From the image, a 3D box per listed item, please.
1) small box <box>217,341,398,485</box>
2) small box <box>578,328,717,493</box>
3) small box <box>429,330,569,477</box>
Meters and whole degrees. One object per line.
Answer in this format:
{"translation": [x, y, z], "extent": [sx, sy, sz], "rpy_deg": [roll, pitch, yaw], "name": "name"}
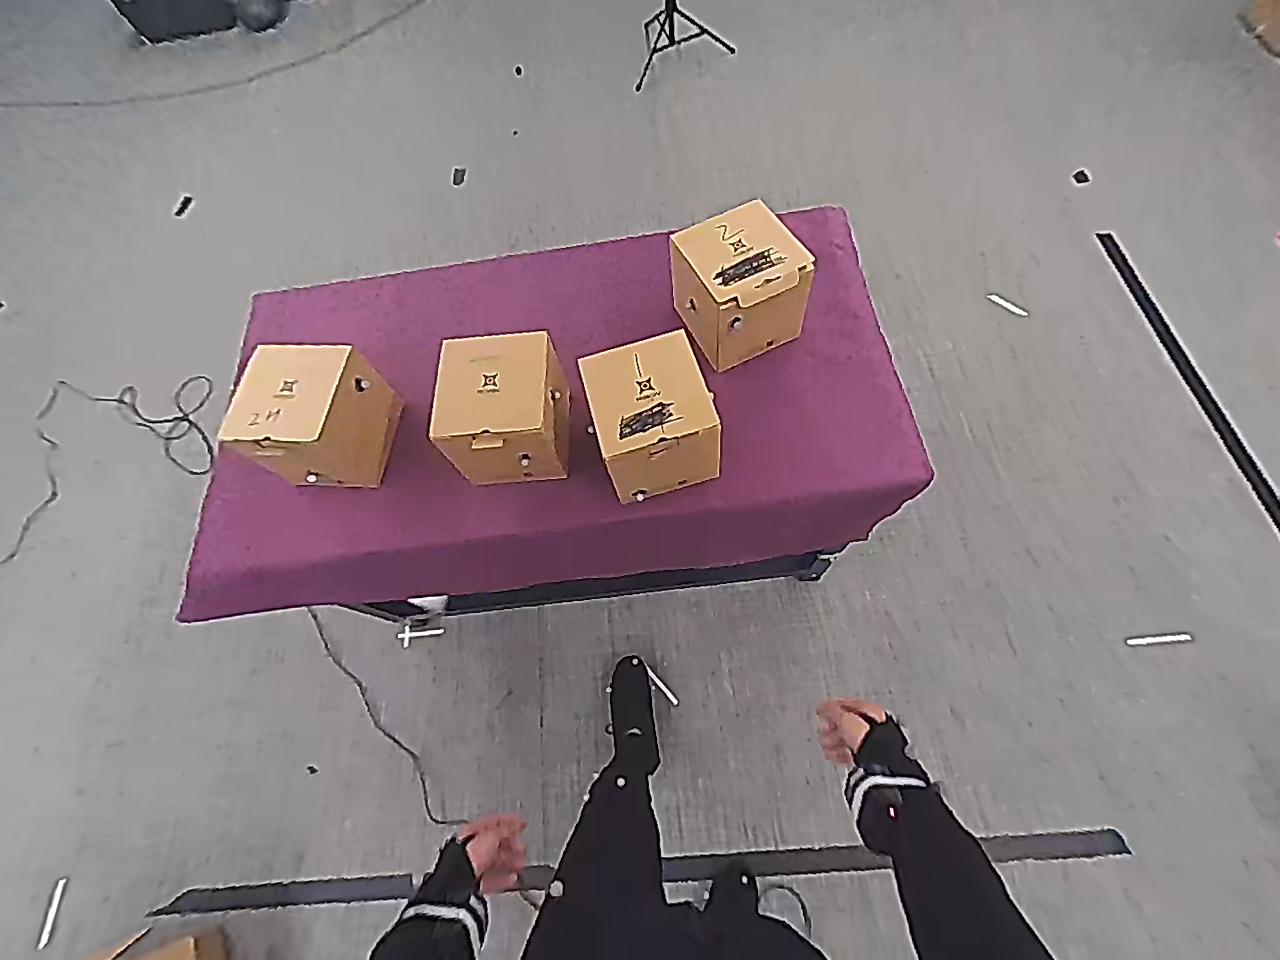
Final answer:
{"translation": [-0.527, -0.106, 0.889], "extent": [0.168, 0.176, 0.179], "rpy_deg": [2, 67, 7], "name": "small box"}
{"translation": [0.016, -0.094, 0.827], "extent": [0.168, 0.176, 0.179], "rpy_deg": [-16, 64, -1], "name": "small box"}
{"translation": [-0.211, -0.111, 0.861], "extent": [0.168, 0.176, 0.179], "rpy_deg": [-3, 66, 4], "name": "small box"}
